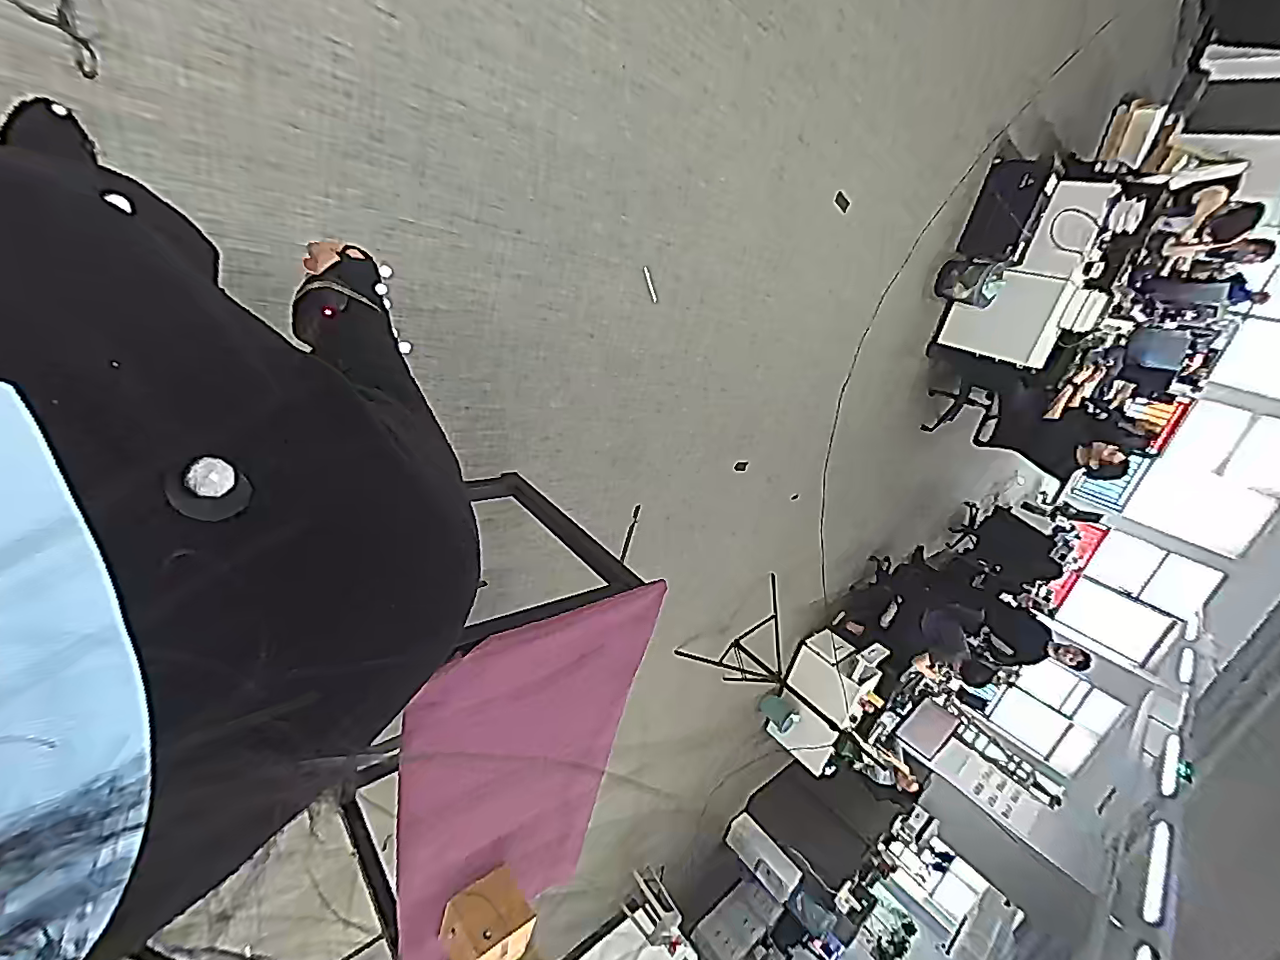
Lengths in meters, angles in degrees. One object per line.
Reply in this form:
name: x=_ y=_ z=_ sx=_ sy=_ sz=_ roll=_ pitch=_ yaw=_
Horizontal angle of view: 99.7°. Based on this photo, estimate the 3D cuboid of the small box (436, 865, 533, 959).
small box: x=-0.423 y=1.198 z=1.461 sx=0.179 sy=0.176 sz=0.168 roll=-2 pitch=117 yaw=-46
